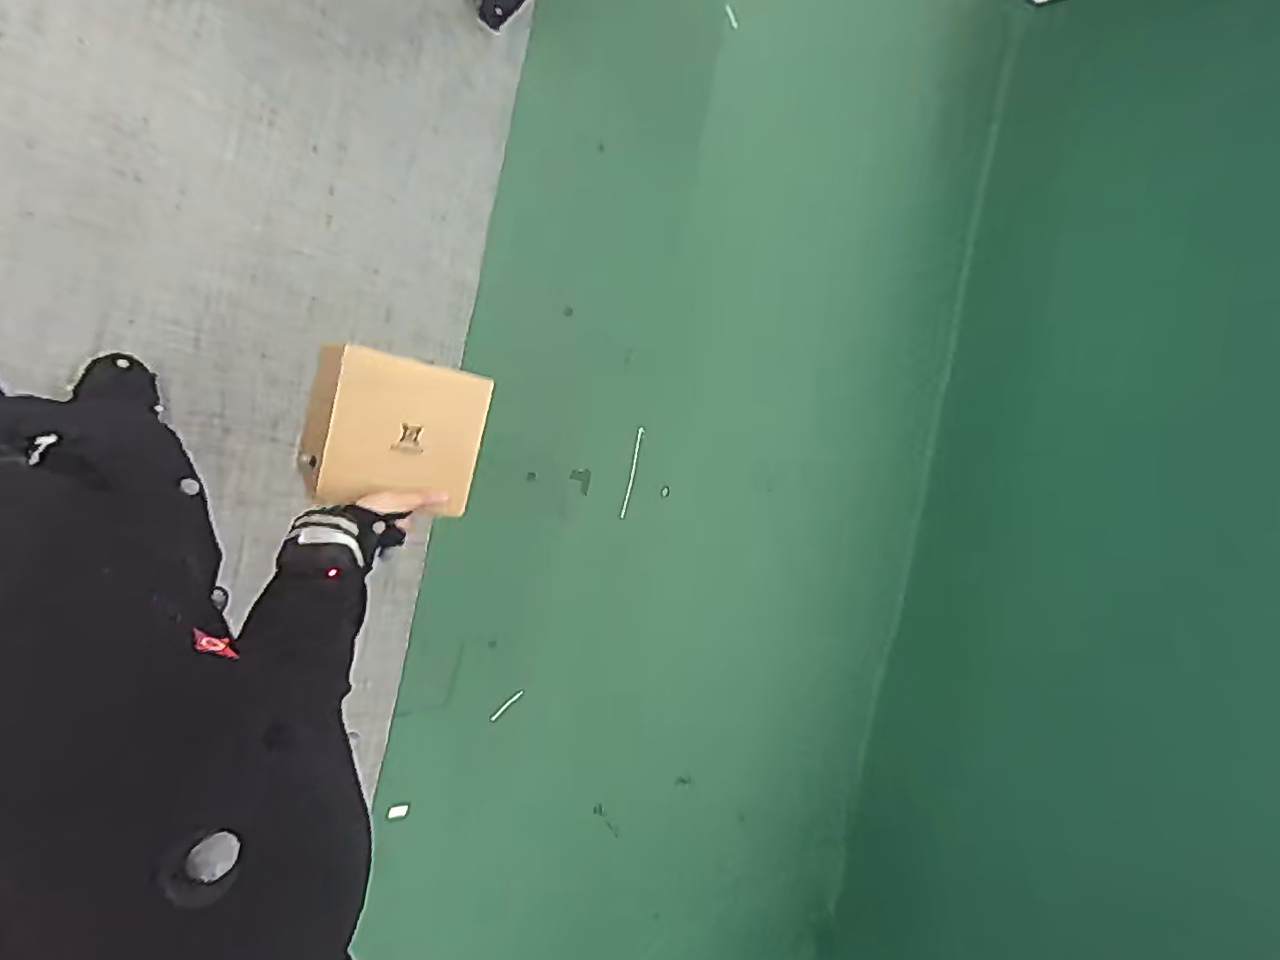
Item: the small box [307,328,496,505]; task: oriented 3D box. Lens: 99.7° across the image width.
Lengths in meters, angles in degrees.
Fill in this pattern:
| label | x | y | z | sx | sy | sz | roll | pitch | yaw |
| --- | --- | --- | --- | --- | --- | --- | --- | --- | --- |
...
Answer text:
| label | x | y | z | sx | sy | sz | roll | pitch | yaw |
| --- | --- | --- | --- | --- | --- | --- | --- | --- | --- |
| small box | -0.303 | -0.081 | 0.673 | 0.168 | 0.176 | 0.179 | 8 | 101 | -38 |
